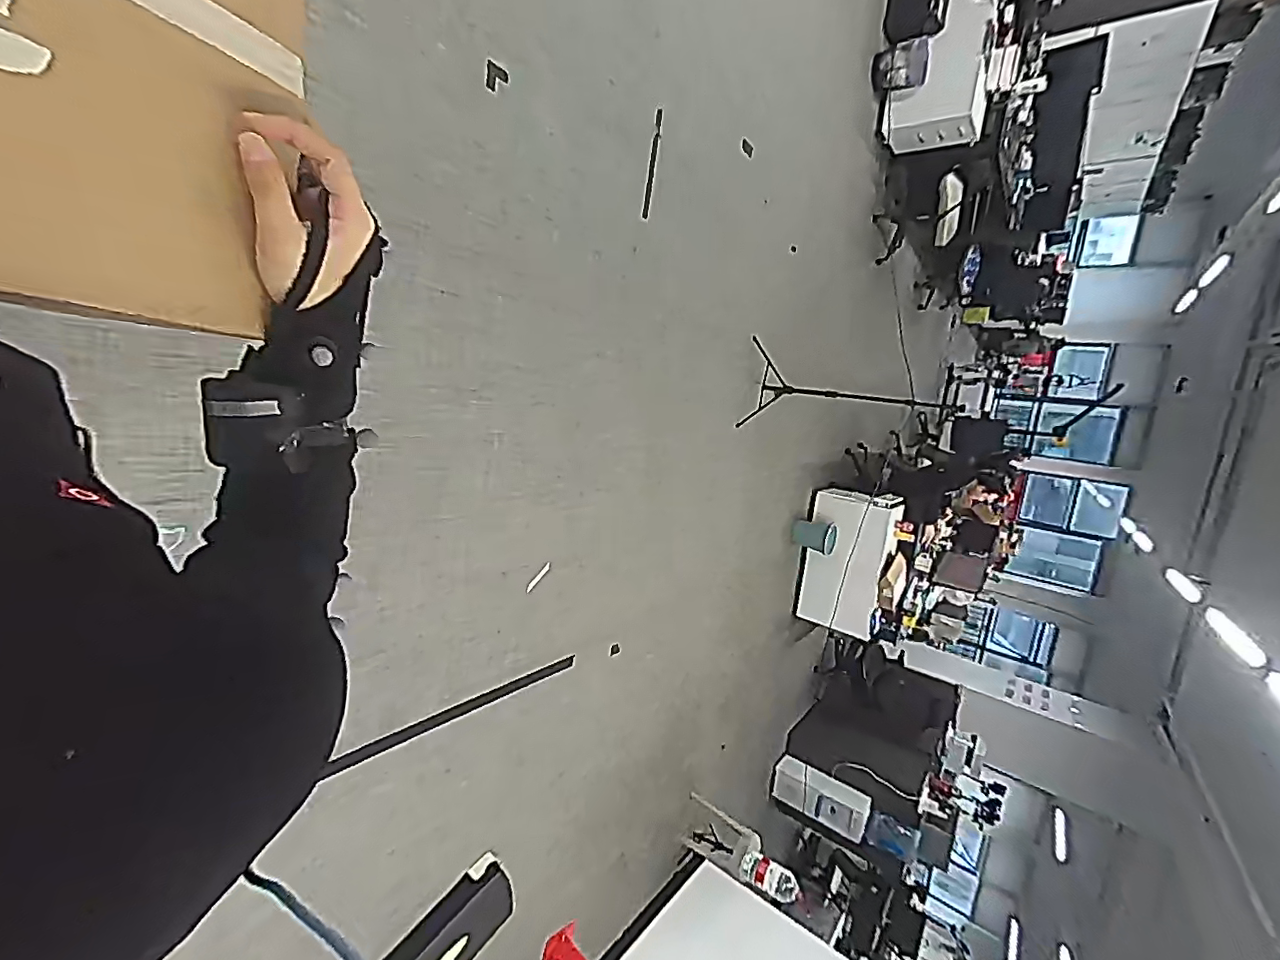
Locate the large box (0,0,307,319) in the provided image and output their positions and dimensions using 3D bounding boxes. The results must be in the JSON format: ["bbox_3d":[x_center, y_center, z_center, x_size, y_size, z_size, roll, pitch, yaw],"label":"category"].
[{"bbox_3d":[-0.440,-0.275,0.235,0.408,0.320,0.320,-2,104,-61],"label":"large box"}]
